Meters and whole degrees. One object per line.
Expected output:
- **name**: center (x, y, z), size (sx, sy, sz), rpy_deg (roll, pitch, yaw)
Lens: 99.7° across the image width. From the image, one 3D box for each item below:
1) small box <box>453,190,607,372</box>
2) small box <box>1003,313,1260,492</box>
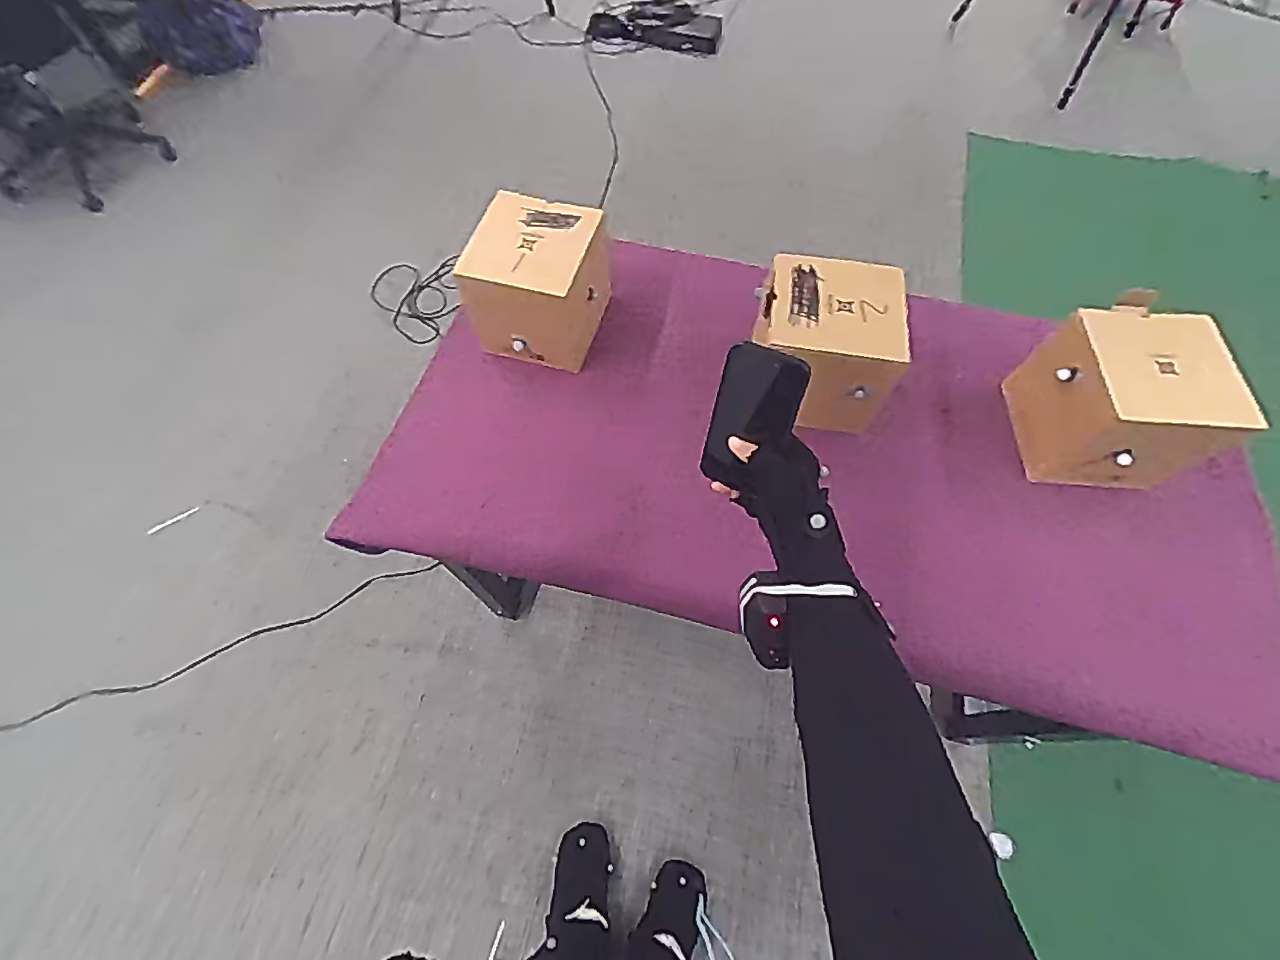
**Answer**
- **small box**: center (-0.152, -0.297, 0.821), size (0.168, 0.176, 0.179), rpy_deg (15, 66, 7)
- **small box**: center (0.632, -0.097, 0.726), size (0.168, 0.176, 0.179), rpy_deg (4, 63, 3)
